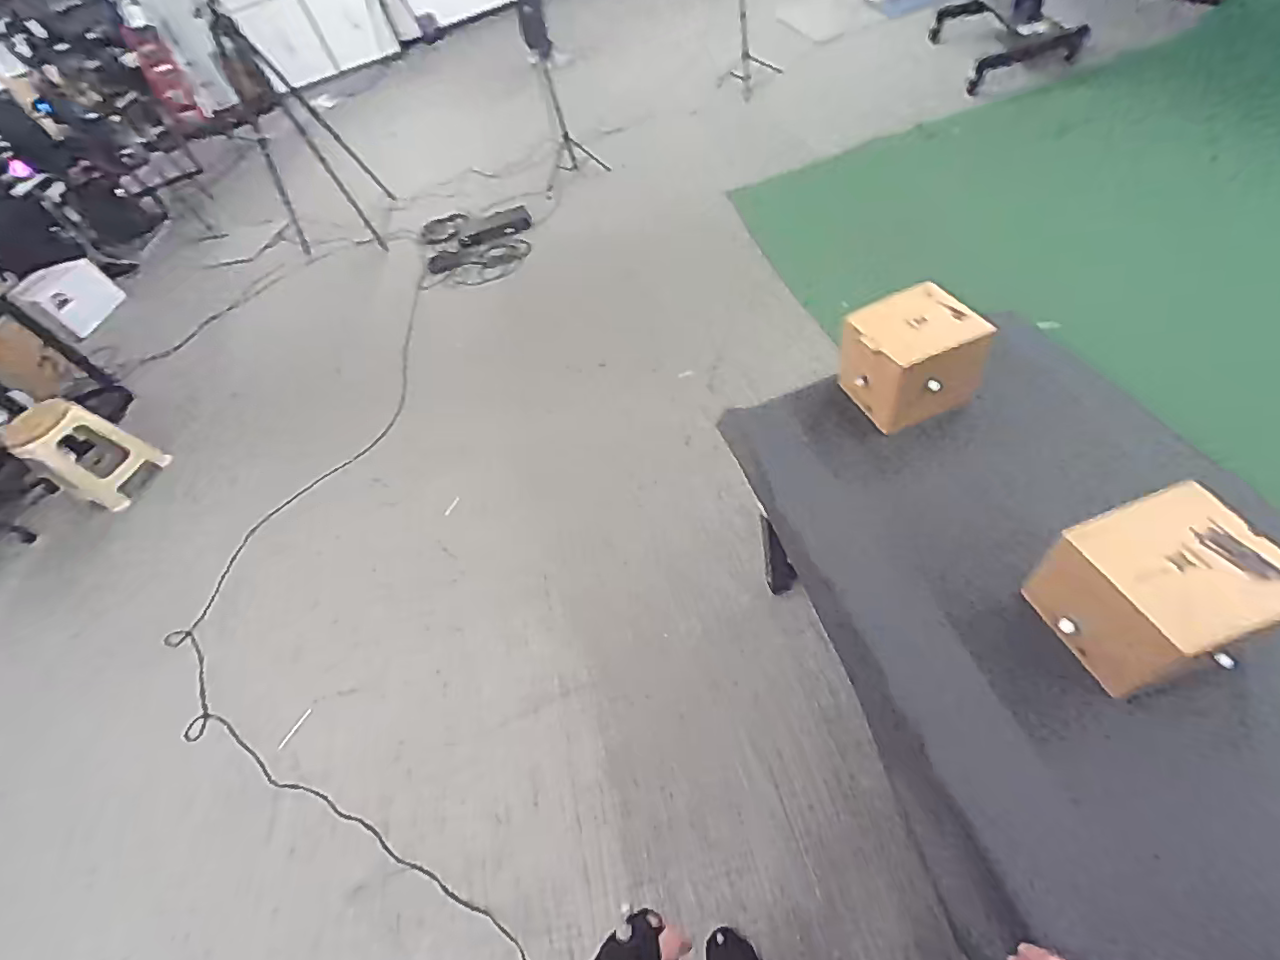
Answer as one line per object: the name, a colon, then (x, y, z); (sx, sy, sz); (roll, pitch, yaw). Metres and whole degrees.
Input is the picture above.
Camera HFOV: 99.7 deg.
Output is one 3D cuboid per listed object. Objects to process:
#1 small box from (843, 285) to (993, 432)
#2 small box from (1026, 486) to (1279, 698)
small box: (0.491, -0.216, 0.985); (0.179, 0.176, 0.168); (-23, 51, -1)
small box: (0.629, 0.142, 0.665); (0.179, 0.176, 0.168); (-21, 50, 1)
